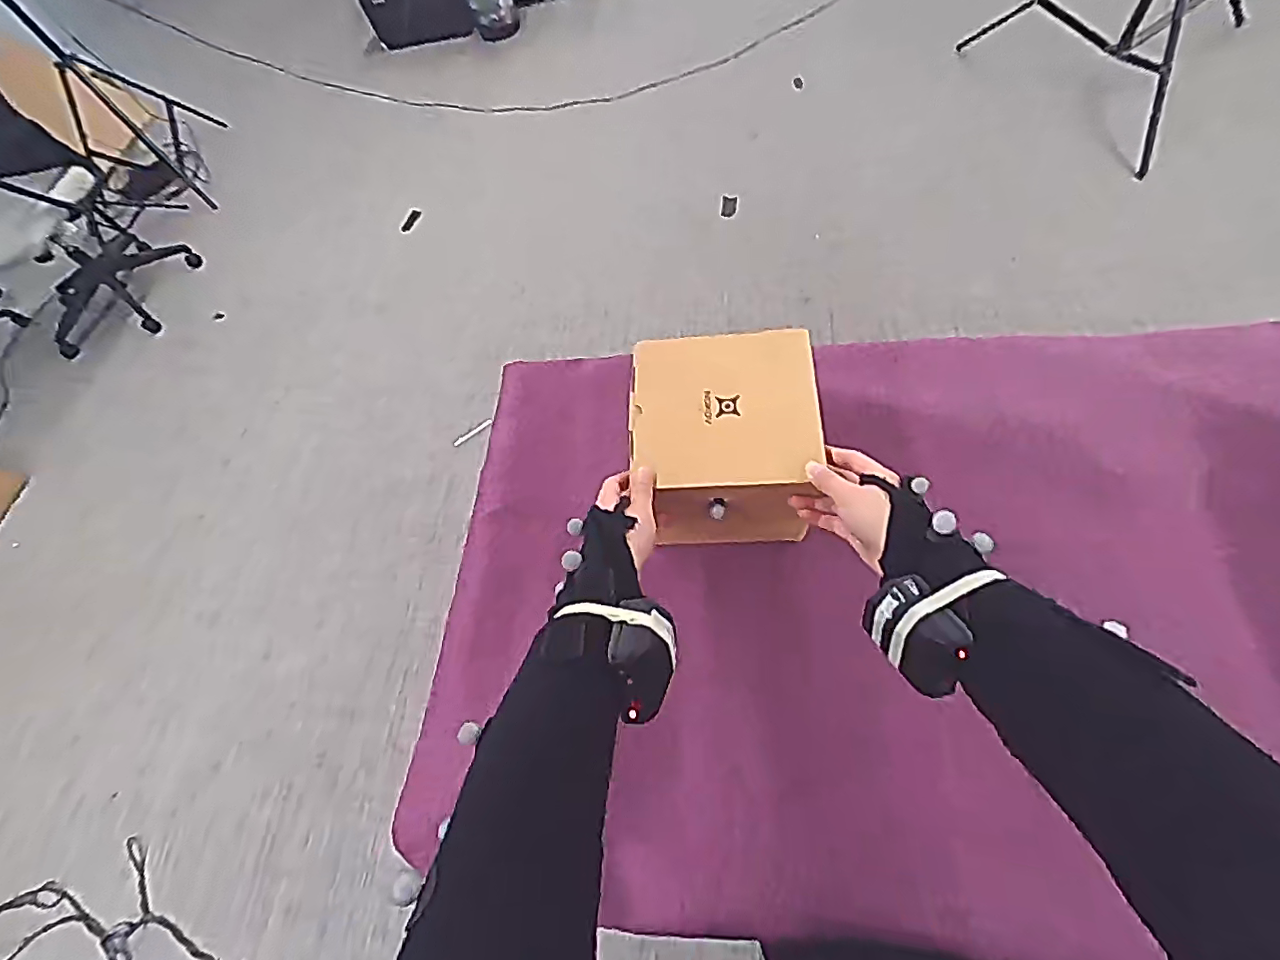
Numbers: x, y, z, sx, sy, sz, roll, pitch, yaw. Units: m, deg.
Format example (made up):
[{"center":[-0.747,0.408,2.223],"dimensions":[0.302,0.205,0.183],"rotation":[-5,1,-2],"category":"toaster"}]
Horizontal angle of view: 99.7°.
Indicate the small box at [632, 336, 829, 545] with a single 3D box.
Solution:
[{"center":[0.092,-0.032,0.582],"dimensions":[0.179,0.176,0.168],"rotation":[-2,66,8],"category":"small box"}]
